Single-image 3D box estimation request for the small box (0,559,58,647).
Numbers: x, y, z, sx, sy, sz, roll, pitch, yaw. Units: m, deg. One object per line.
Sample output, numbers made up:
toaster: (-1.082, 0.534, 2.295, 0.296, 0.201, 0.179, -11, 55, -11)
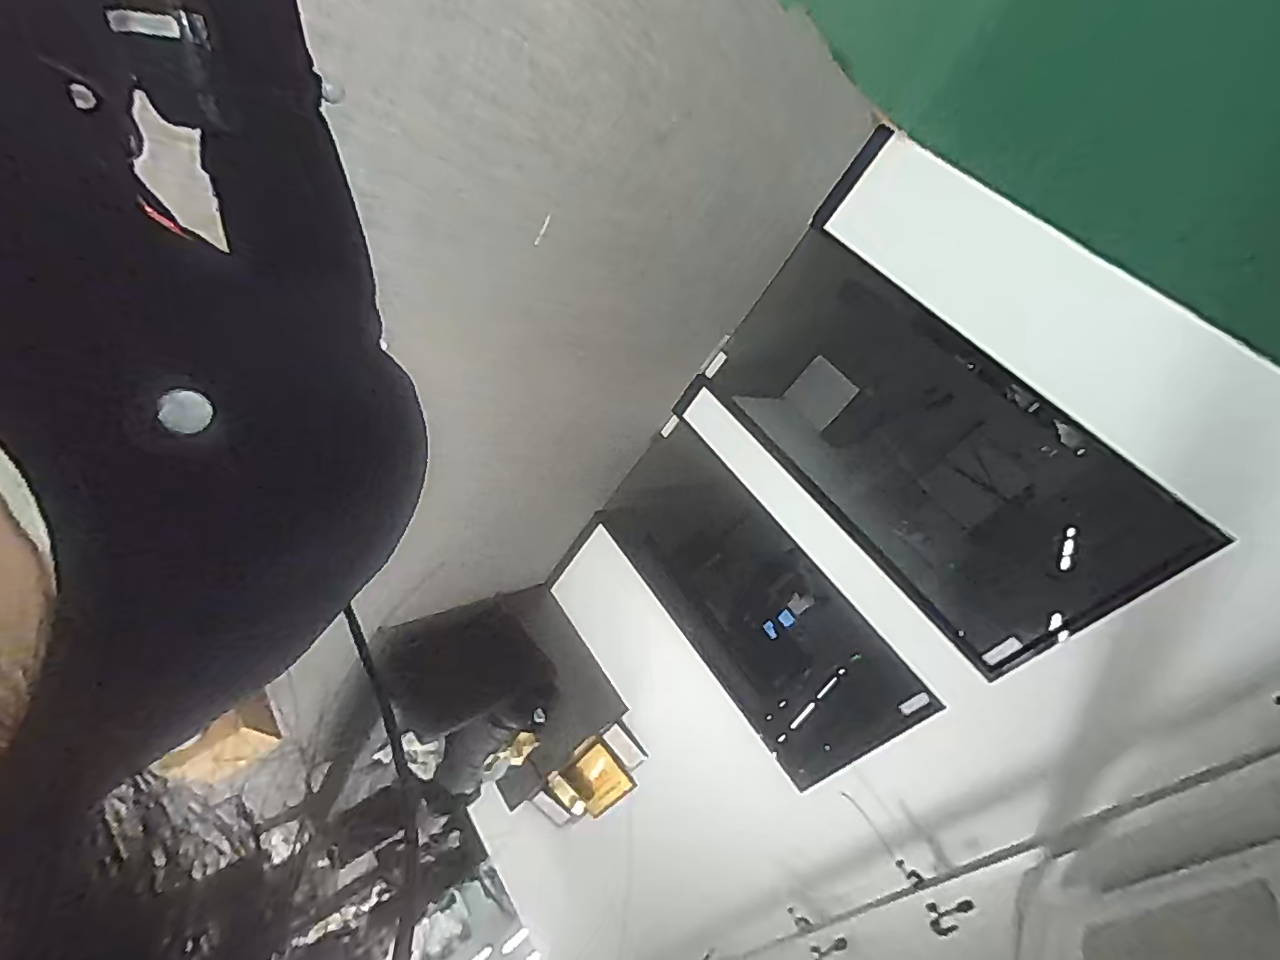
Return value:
small box: (-1.781, 0.348, 1.522, 0.179, 0.176, 0.168, -9, 145, -49)
